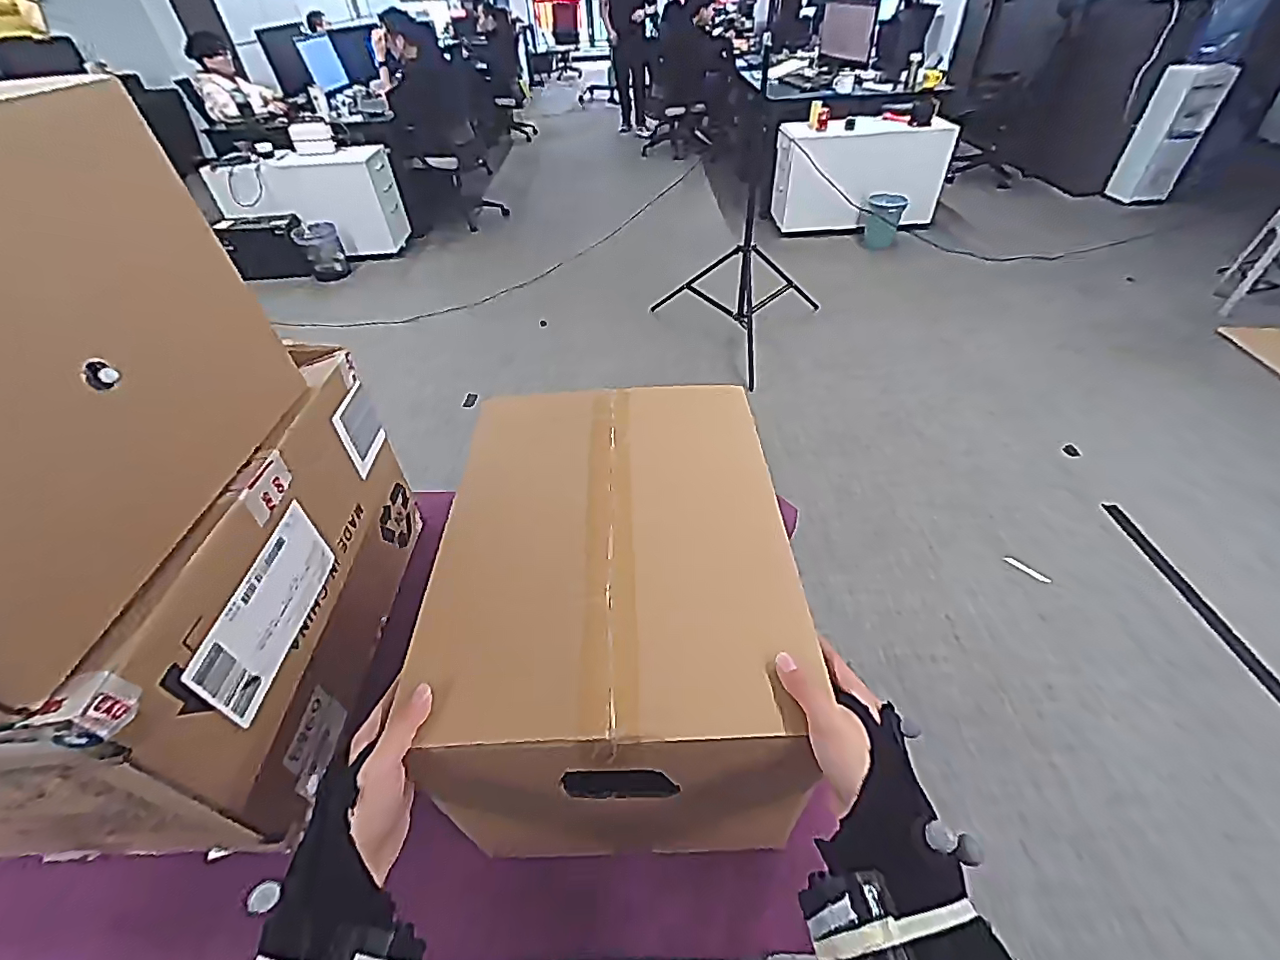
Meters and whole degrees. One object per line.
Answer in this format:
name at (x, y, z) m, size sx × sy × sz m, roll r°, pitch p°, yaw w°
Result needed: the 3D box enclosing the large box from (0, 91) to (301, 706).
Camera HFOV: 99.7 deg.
large box at (-0.570, -0.075, 0.430) m, size 0.320 × 0.320 × 0.408 m, roll -5°, pitch 44°, yaw 5°
